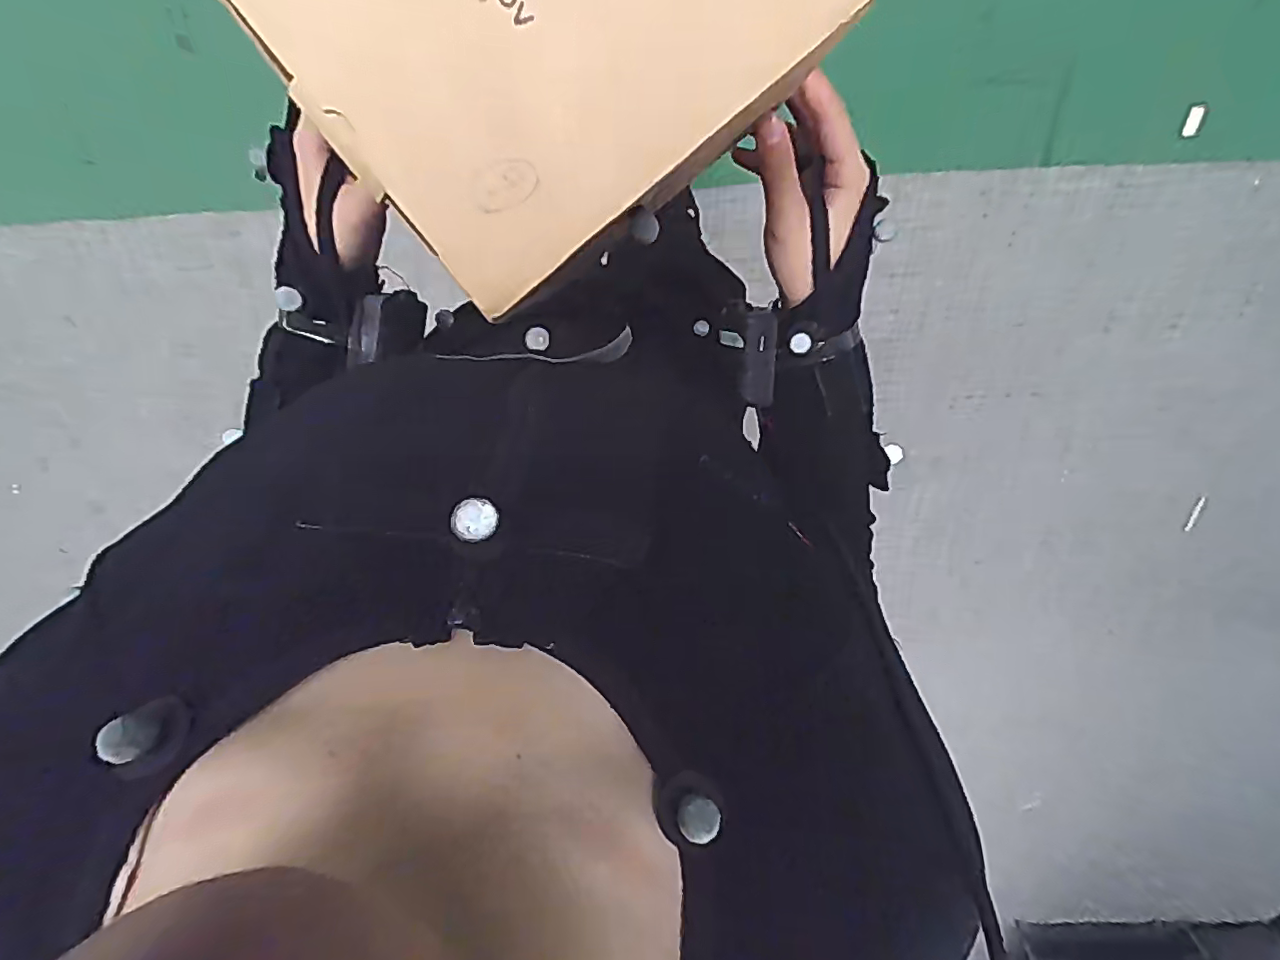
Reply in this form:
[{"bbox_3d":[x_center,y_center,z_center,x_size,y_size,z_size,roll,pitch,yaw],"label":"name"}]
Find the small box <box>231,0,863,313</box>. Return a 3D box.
[{"bbox_3d":[-0.036,-0.203,0.249,0.179,0.176,0.168,-34,108,16],"label":"small box"}]
